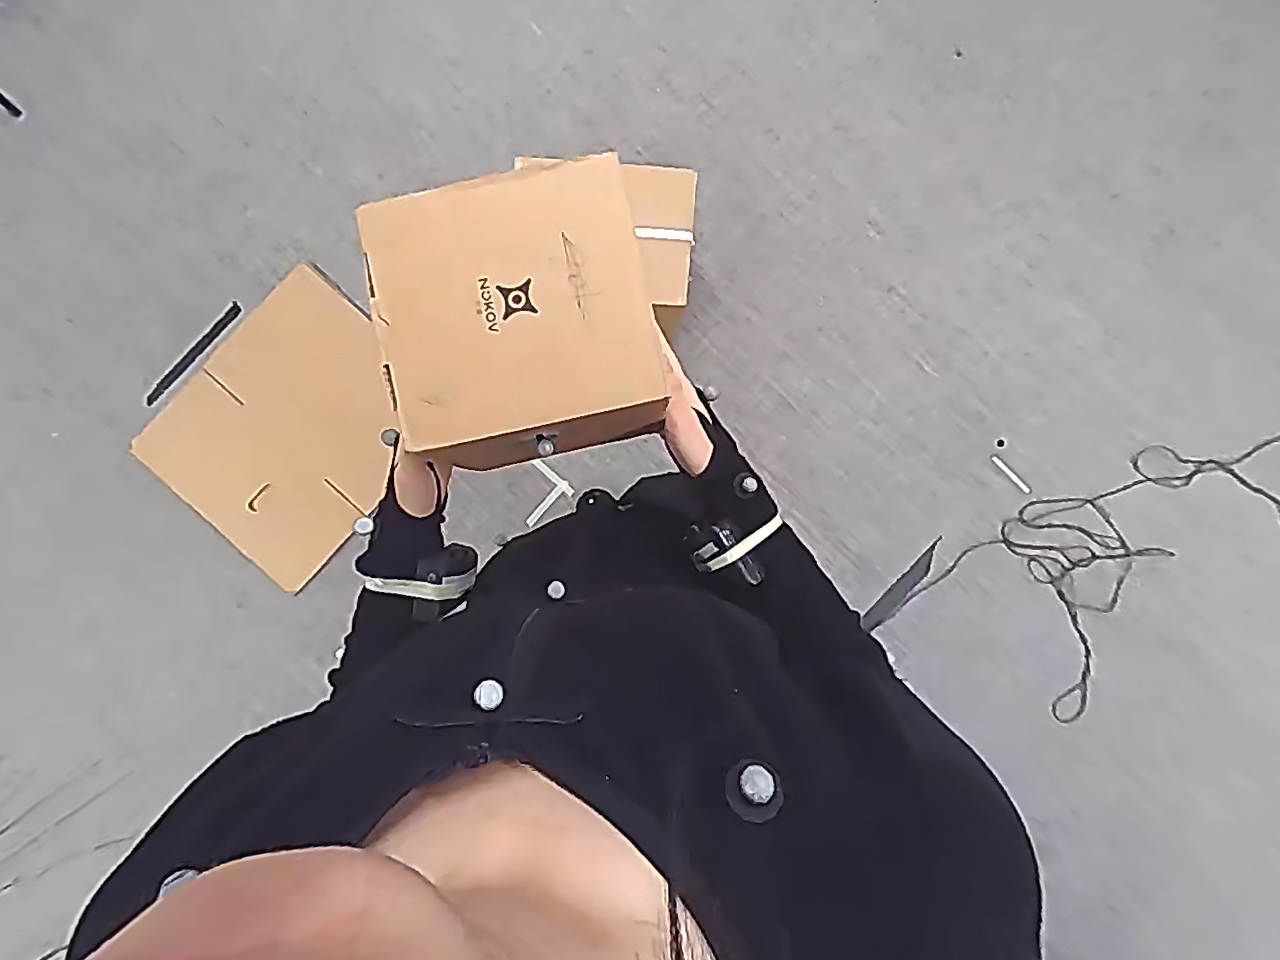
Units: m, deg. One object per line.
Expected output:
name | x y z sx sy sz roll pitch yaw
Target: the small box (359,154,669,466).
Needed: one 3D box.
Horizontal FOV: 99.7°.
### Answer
small box | -0.081 -0.110 0.424 0.179 0.176 0.168 -12 88 -1
